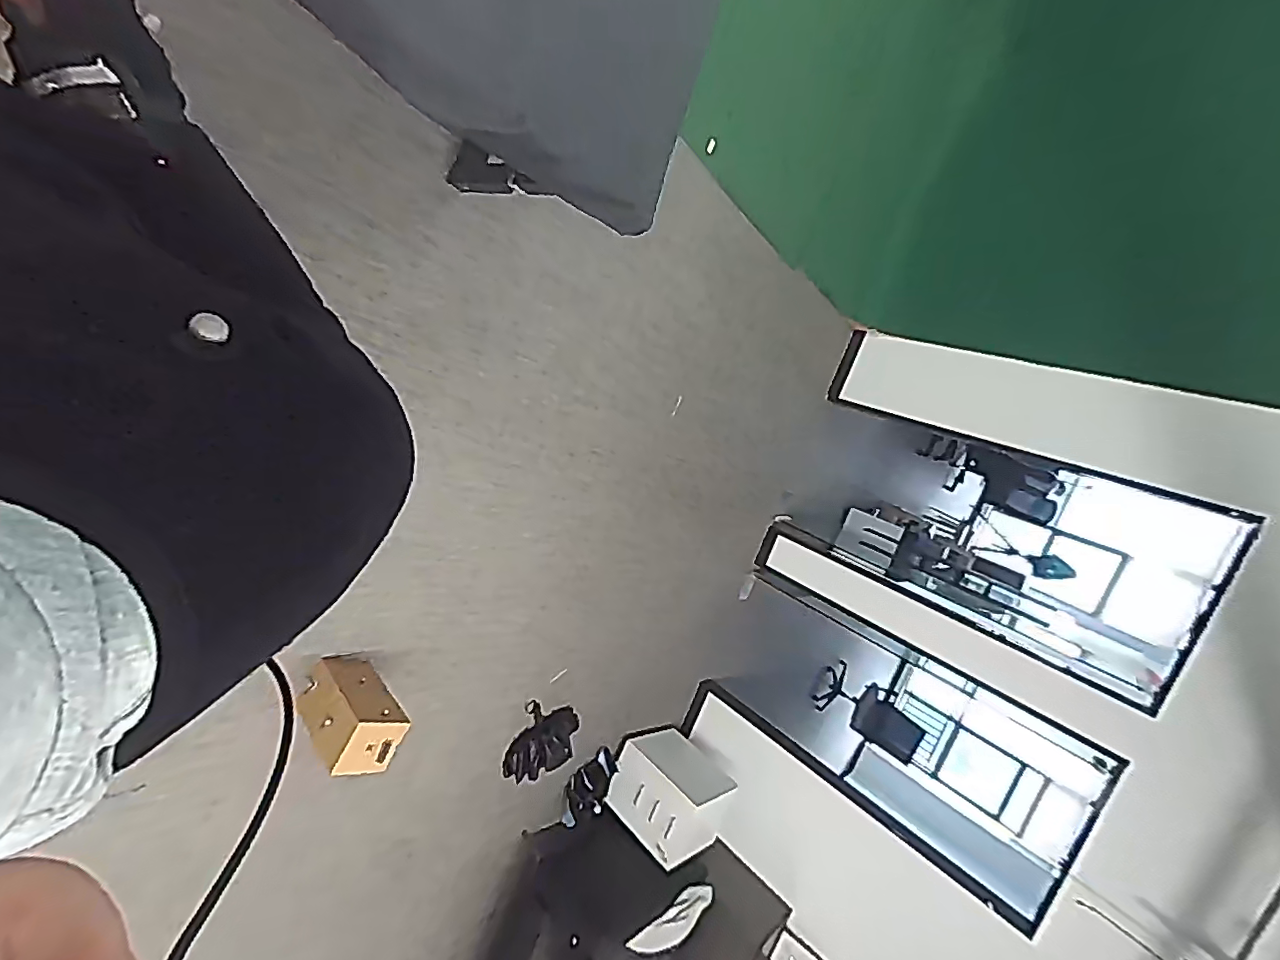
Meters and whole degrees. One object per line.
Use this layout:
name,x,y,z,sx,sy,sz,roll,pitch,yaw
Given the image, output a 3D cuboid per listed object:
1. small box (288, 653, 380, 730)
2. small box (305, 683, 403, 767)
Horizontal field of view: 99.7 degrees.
small box,-0.985,0.676,1.736,0.179,0.176,0.168,32,85,-52
small box,-0.868,0.735,1.637,0.179,0.176,0.168,34,83,-52
